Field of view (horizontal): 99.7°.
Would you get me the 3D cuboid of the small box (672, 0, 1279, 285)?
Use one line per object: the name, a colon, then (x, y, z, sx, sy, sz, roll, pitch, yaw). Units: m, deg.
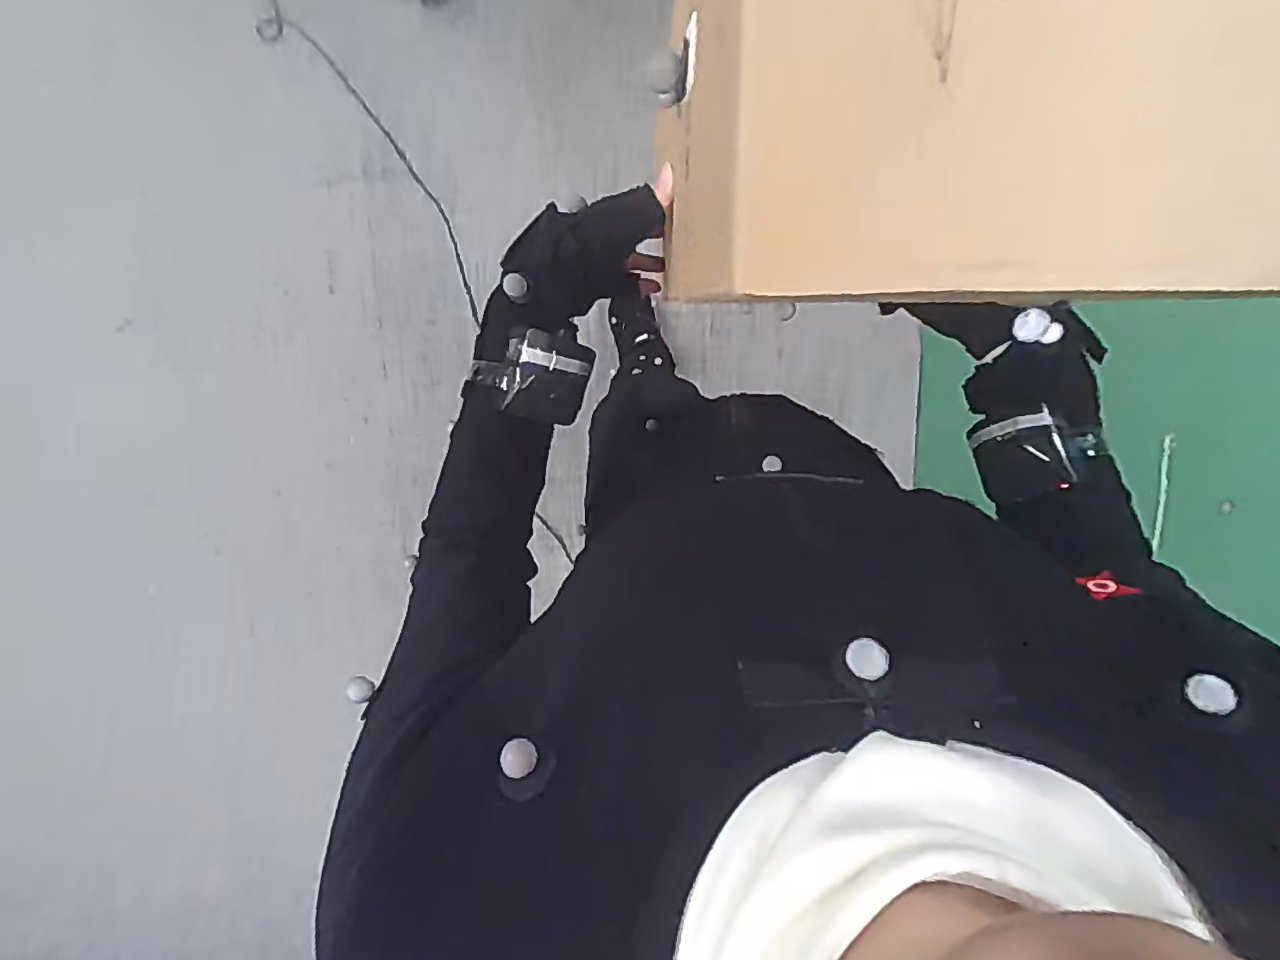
small box: (0.104, -0.160, 0.189, 0.179, 0.176, 0.168, -1, 108, 1)
